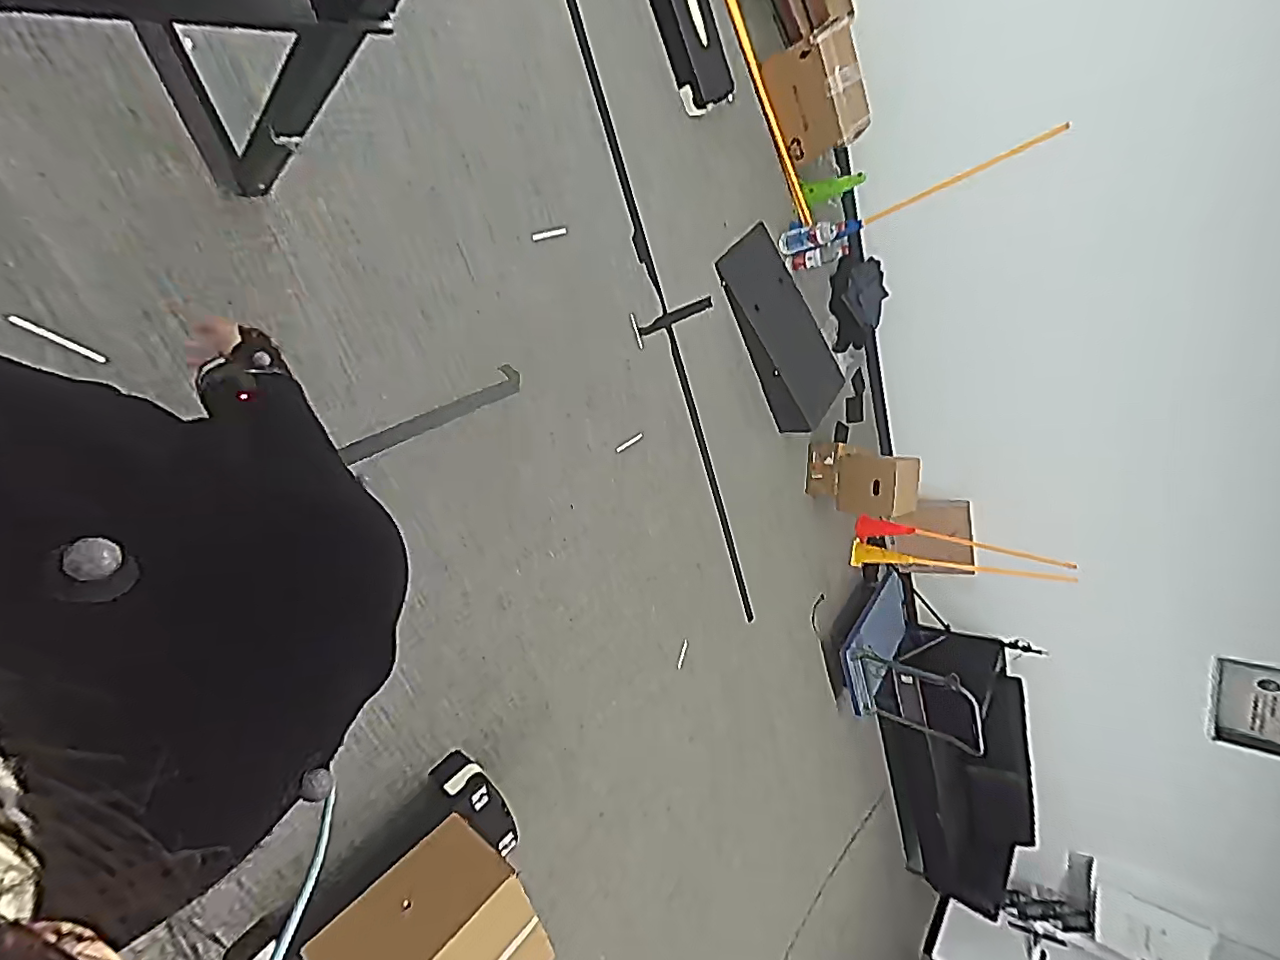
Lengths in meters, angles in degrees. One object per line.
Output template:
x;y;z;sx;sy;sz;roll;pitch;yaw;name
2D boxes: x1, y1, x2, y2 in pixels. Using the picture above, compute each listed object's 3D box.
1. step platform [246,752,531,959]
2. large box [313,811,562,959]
-0.628;1.090;1.464;0.684;0.204;0.286;-29;112;-41;step platform
-0.468;1.117;1.287;0.408;0.320;0.320;-33;115;-41;large box
